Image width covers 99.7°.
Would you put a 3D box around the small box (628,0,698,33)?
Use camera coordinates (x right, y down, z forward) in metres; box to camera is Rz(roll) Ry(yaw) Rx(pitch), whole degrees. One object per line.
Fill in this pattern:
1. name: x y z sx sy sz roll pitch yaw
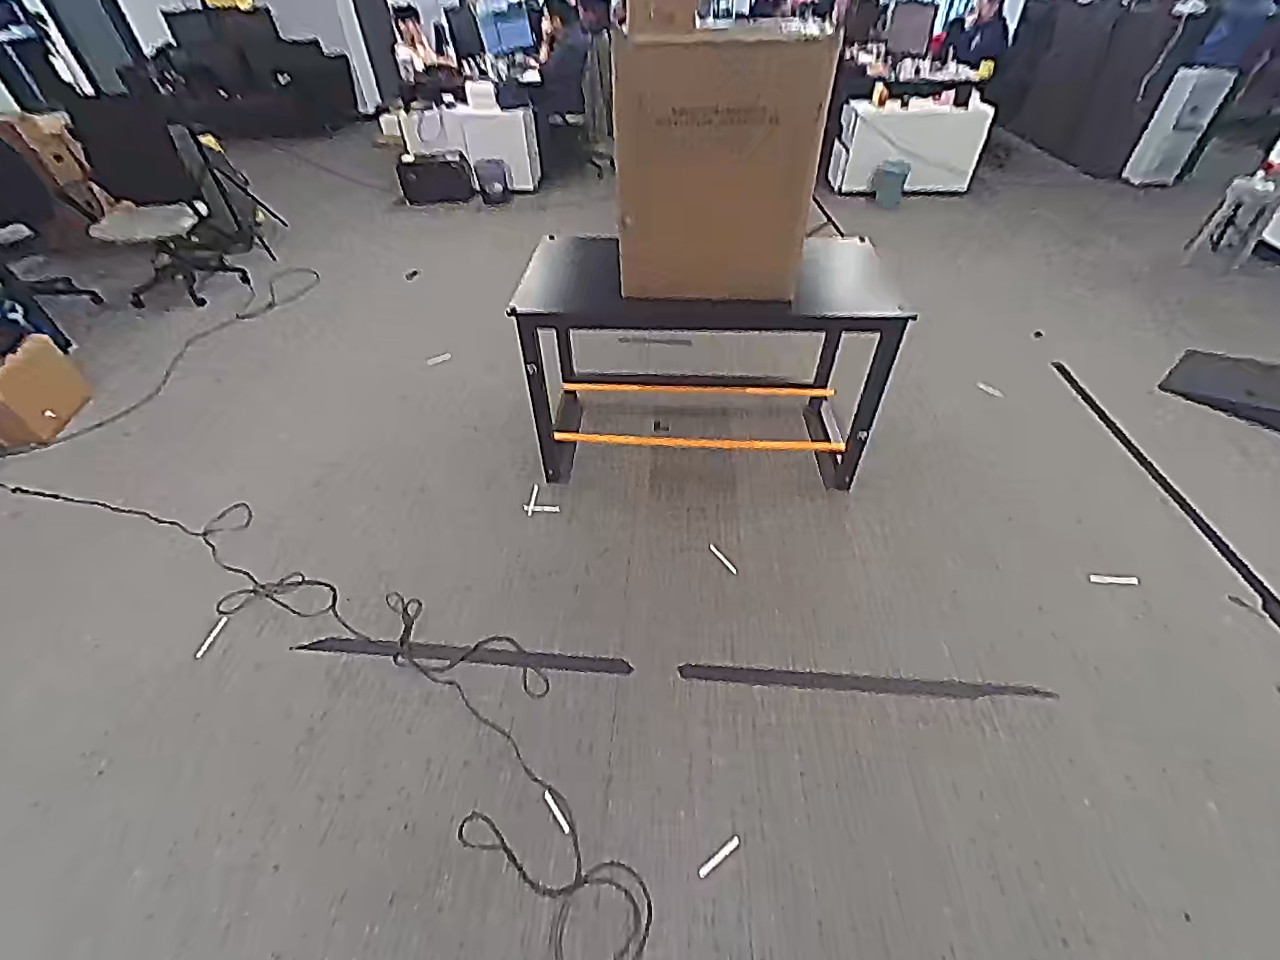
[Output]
1. small box: 0.053 -1.195 1.299 0.168 0.176 0.179 -2 47 0
